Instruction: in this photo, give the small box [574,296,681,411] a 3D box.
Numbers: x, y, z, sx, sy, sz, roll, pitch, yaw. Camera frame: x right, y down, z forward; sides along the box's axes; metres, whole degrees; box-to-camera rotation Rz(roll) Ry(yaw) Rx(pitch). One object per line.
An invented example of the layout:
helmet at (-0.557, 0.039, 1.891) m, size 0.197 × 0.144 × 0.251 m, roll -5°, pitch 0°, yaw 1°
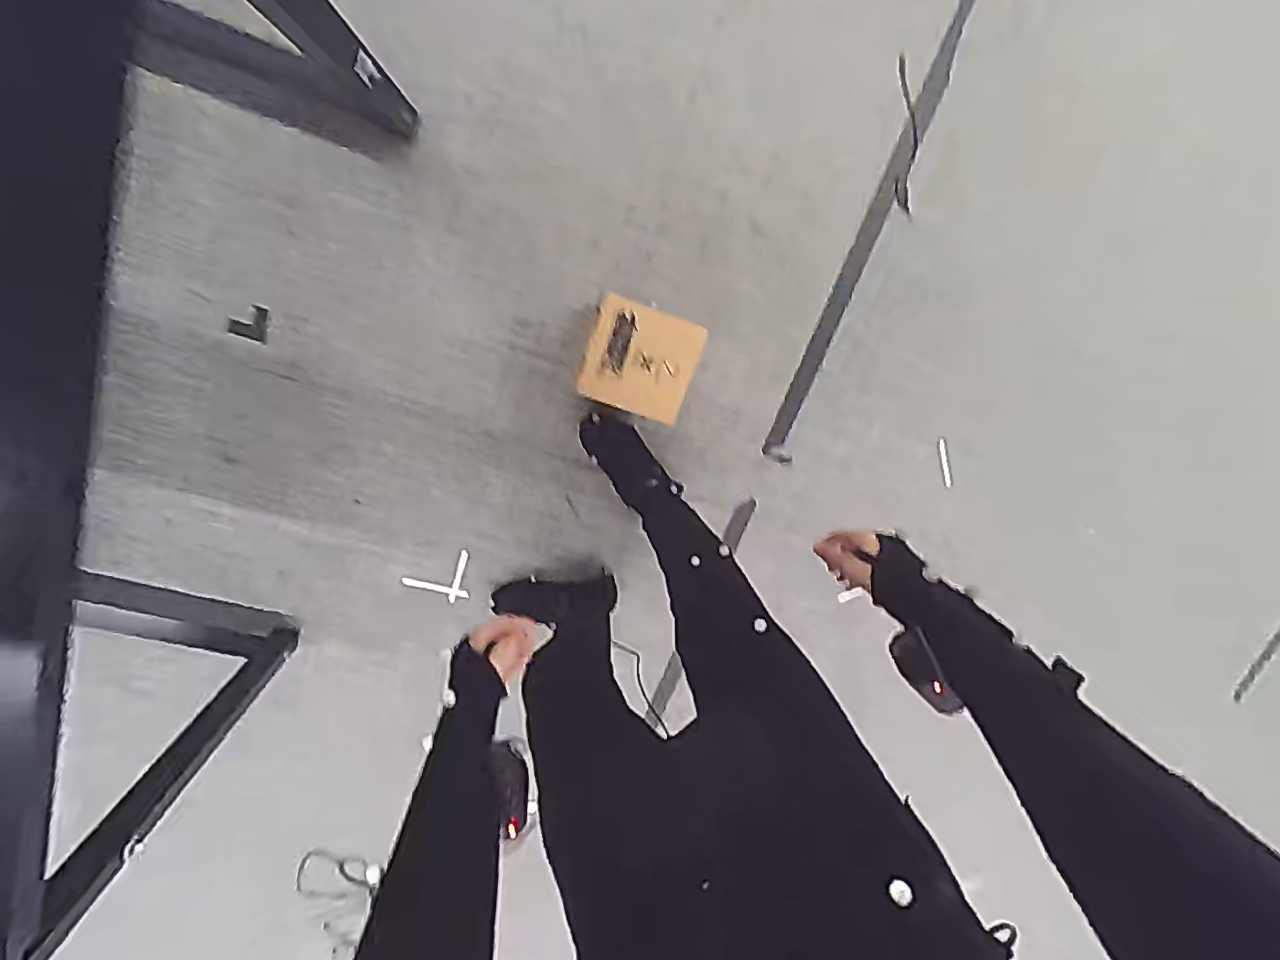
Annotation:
small box at (-0.035, -0.258, 1.090) m, size 0.168 × 0.176 × 0.179 m, roll 15°, pitch 106°, yaw -12°
